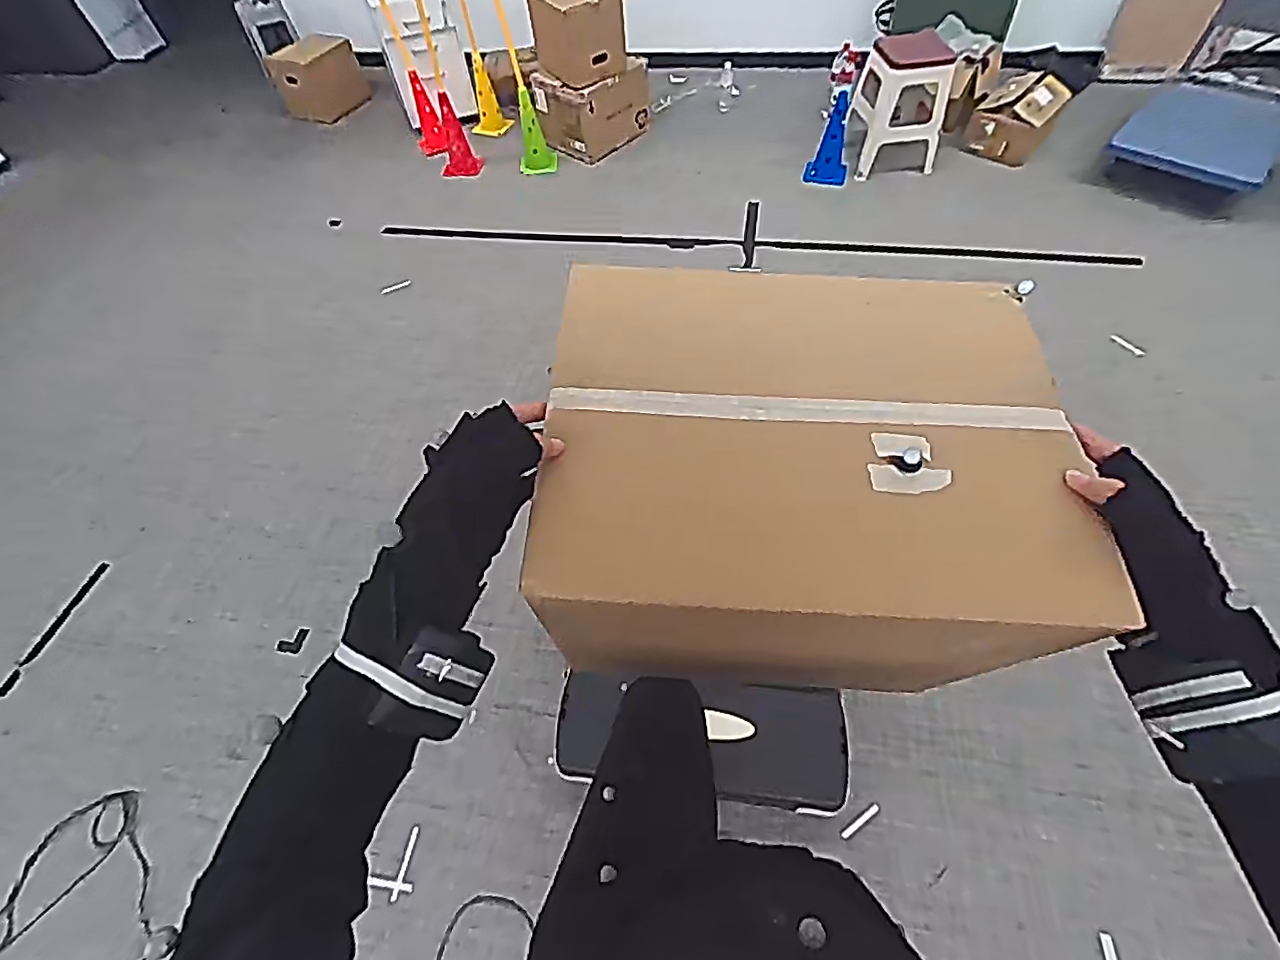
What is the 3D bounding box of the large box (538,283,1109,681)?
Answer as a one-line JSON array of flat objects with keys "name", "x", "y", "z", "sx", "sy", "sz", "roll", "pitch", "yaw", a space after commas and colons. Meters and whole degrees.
[{"name": "large box", "x": 0.127, "y": 0.024, "z": 0.571, "sx": 0.408, "sy": 0.320, "sz": 0.320, "roll": 3, "pitch": 62, "yaw": 0}]
